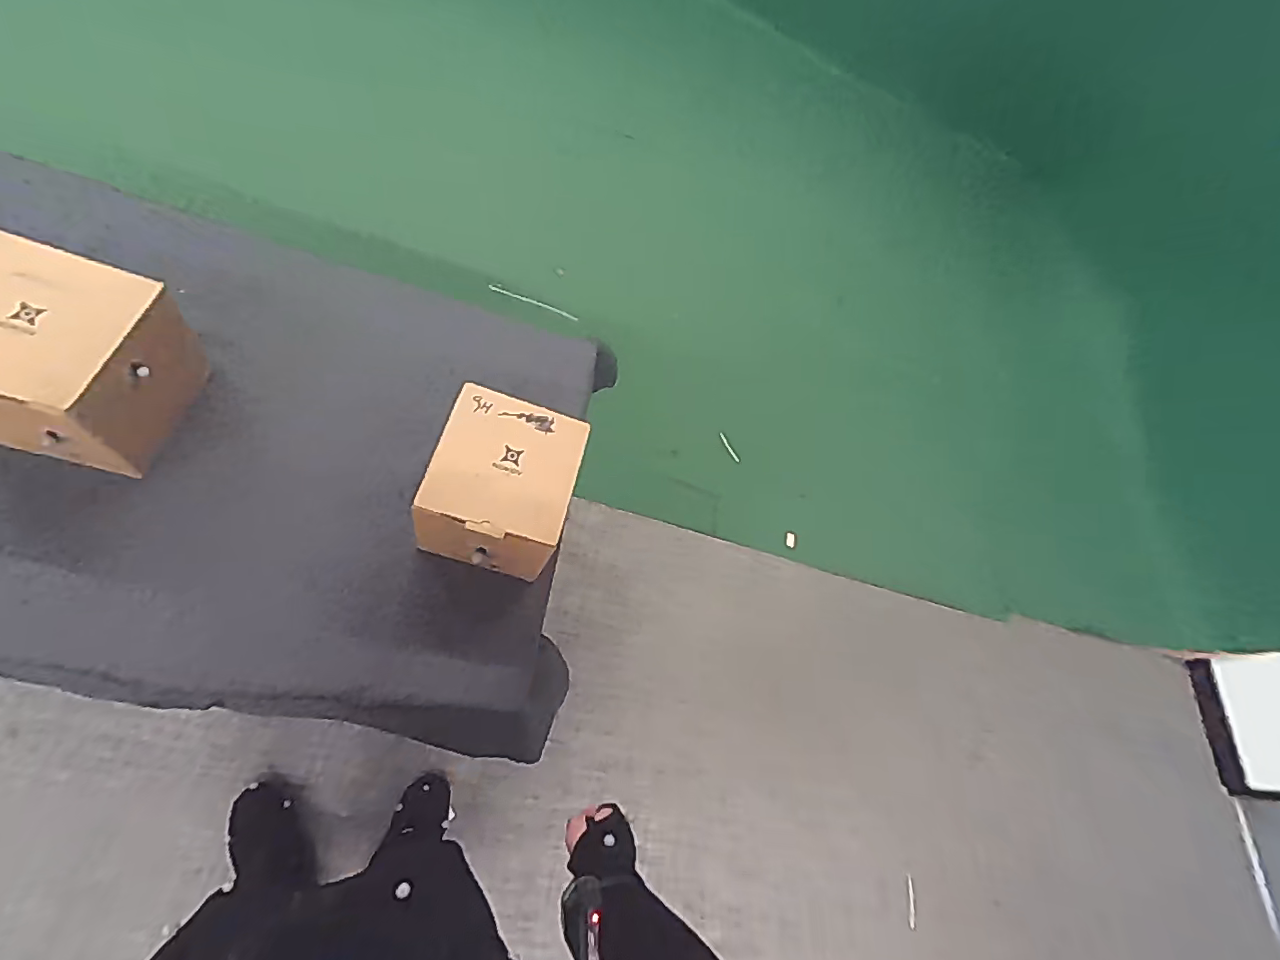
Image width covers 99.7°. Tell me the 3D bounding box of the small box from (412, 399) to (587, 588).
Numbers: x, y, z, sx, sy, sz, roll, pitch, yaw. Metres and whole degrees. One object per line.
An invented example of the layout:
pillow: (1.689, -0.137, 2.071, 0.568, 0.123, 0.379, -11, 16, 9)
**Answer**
small box: (-0.183, 0.029, 0.717, 0.168, 0.176, 0.179, 18, 62, -12)
